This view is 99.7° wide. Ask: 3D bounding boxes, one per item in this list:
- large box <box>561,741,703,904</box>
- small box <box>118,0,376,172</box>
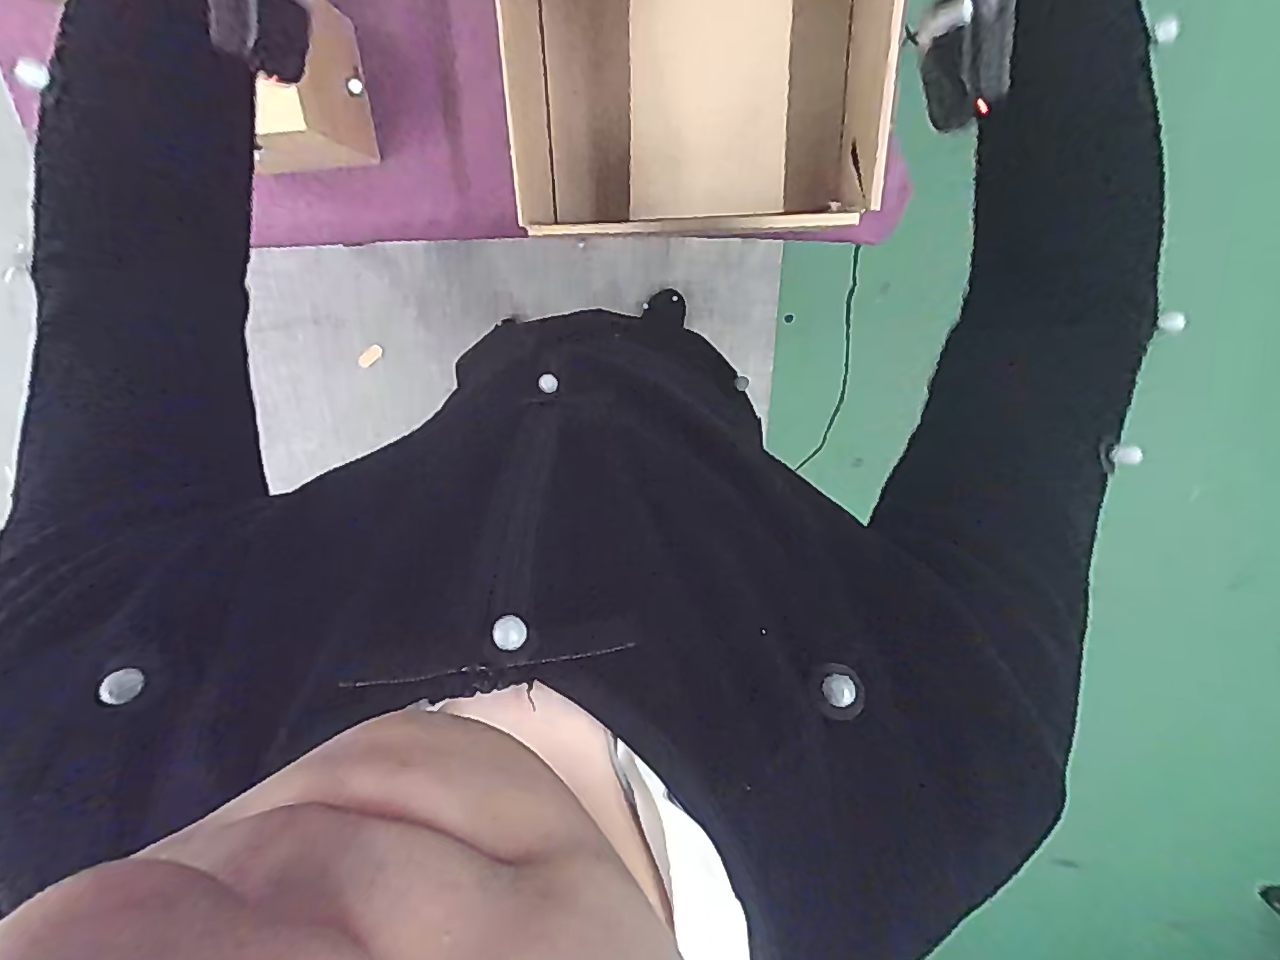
[{"bbox_3d":[-0.022,1.254,1.998,0.408,0.320,0.320,-30,106,13],"label":"large box"},{"bbox_3d":[-0.462,-0.489,0.661,0.179,0.176,0.168,-3,109,4],"label":"small box"}]
